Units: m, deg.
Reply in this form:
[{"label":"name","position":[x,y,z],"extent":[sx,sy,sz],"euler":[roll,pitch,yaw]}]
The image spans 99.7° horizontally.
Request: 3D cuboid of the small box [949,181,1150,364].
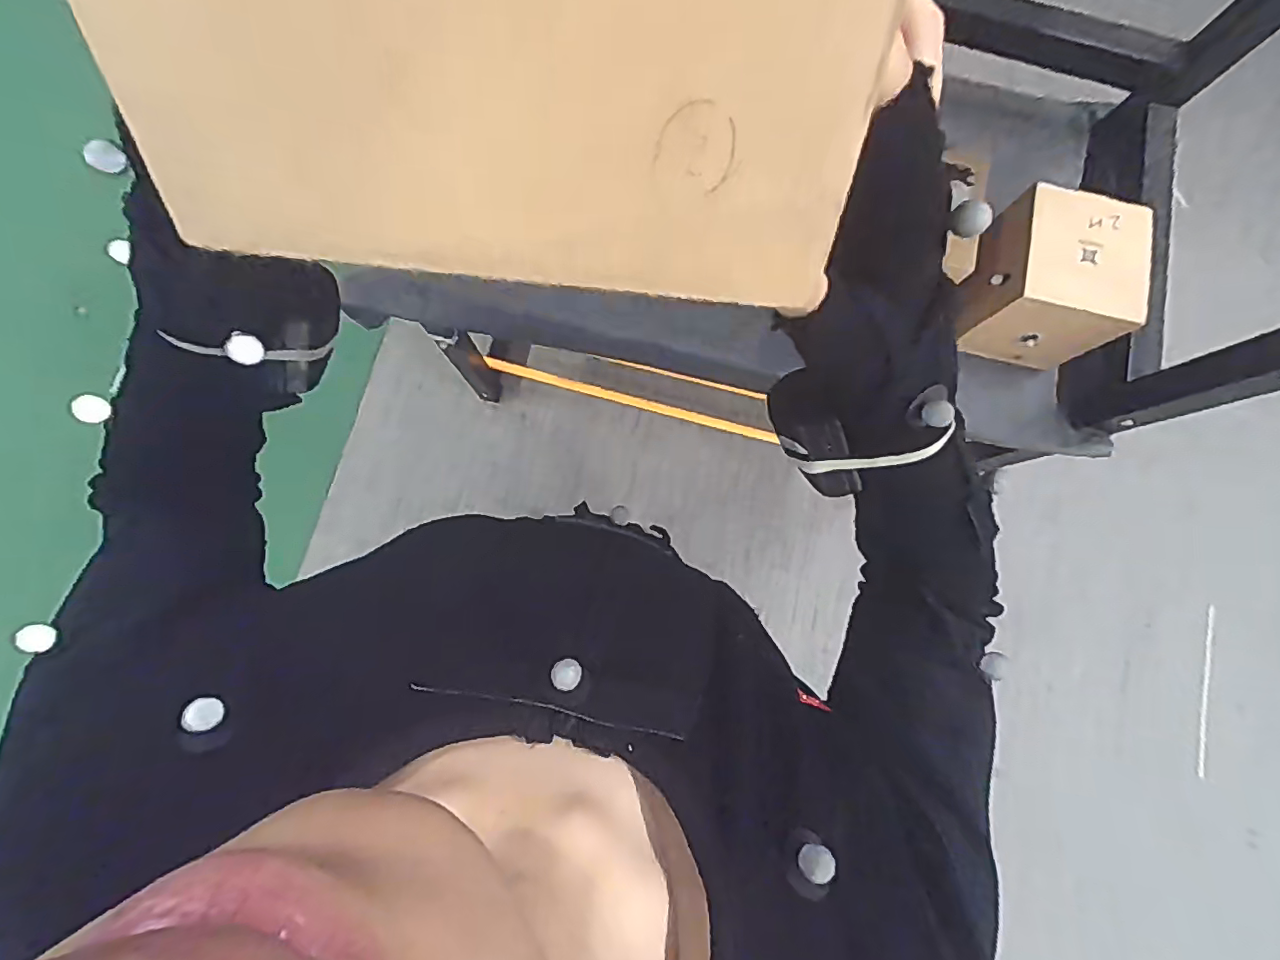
[{"label":"small box","position":[0.589,-0.292,0.797],"extent":[0.168,0.176,0.179],"euler":[13,80,-1]}]
